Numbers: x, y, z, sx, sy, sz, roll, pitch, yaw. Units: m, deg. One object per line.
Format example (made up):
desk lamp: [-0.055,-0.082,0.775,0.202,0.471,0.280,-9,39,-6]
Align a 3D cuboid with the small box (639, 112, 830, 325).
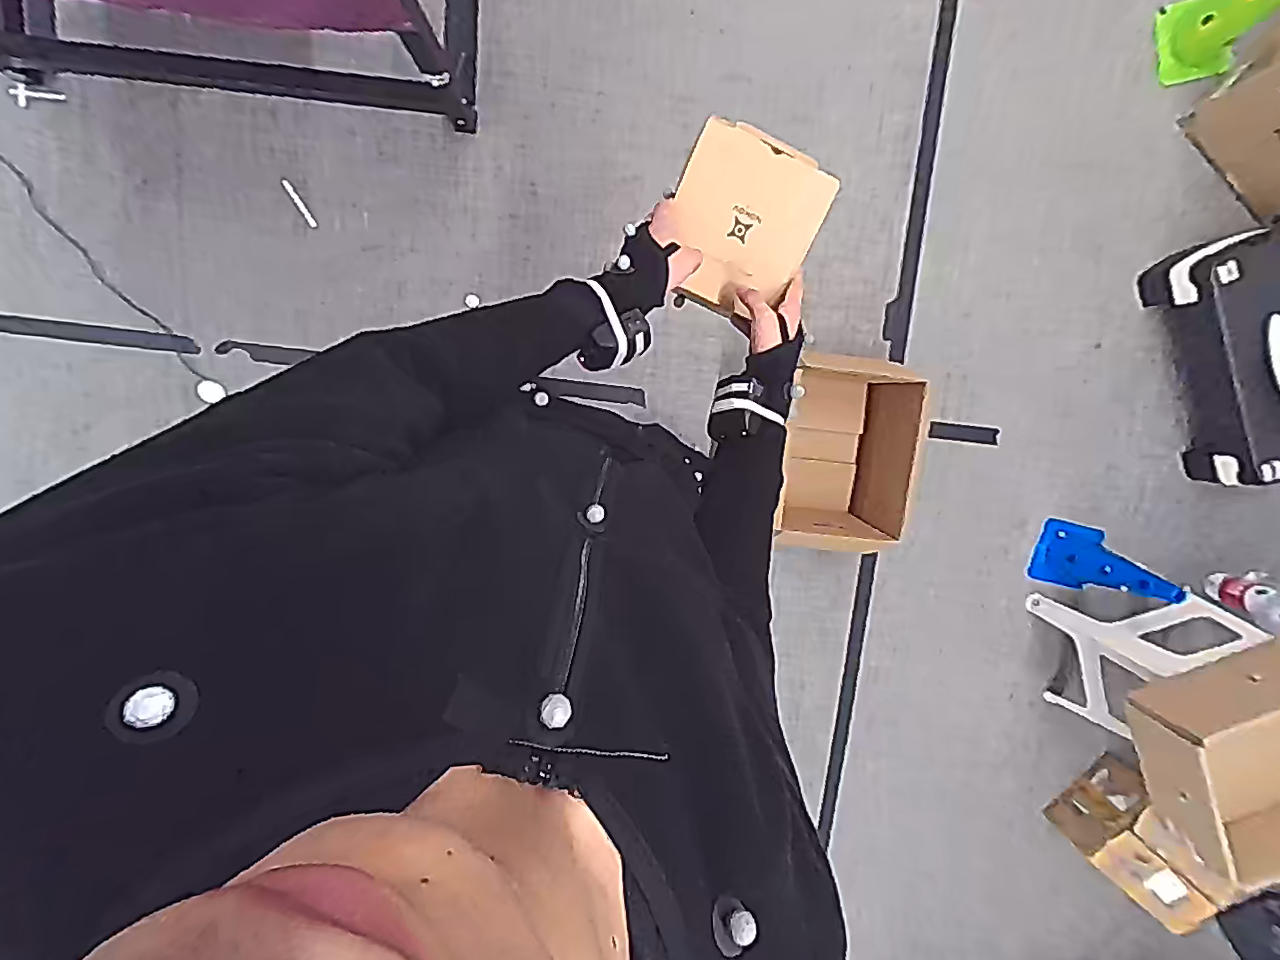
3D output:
small box: [0.103,-0.315,0.691,0.168,0.176,0.179,22,105,-9]
